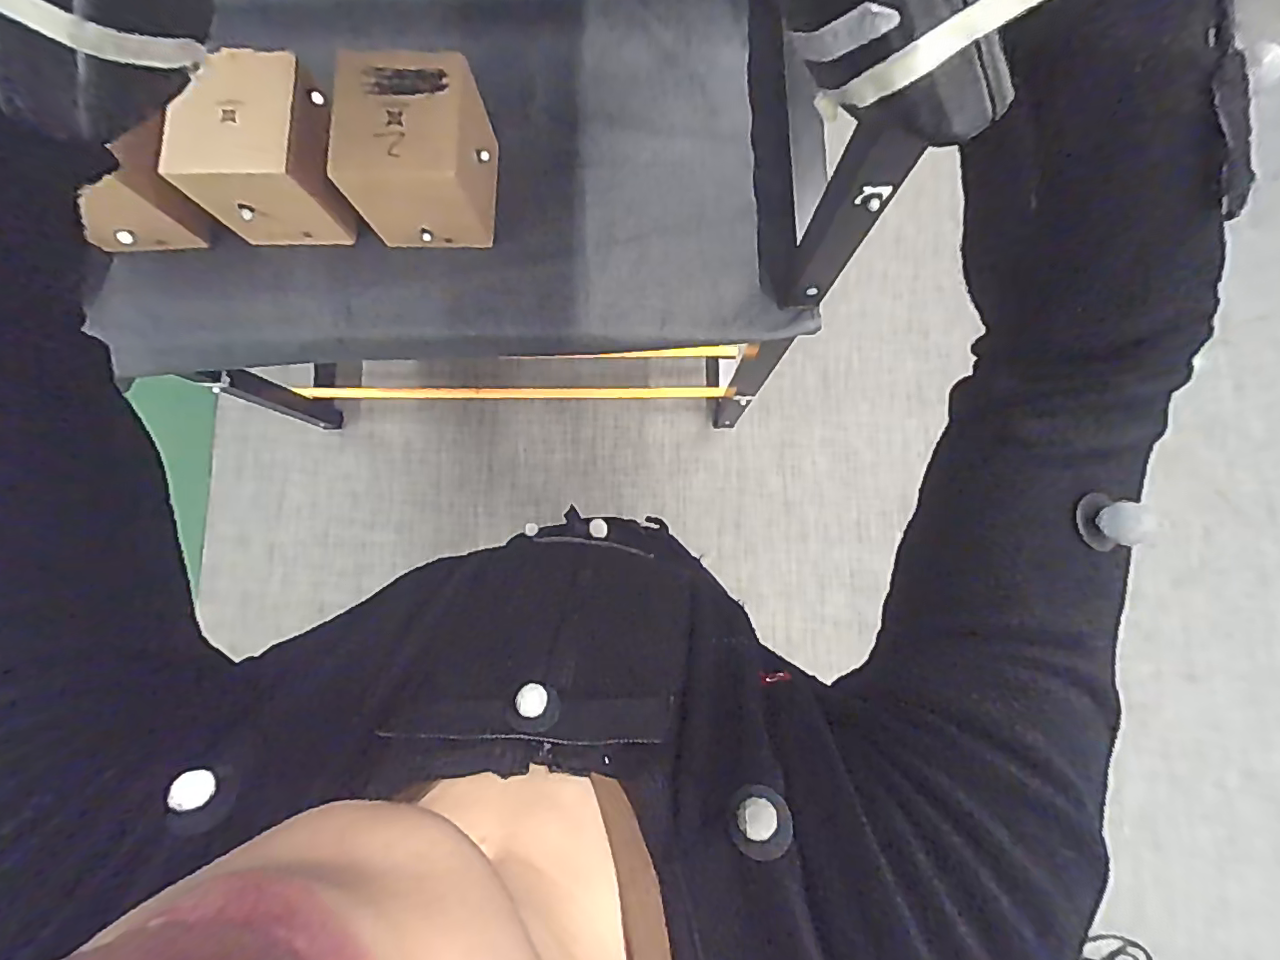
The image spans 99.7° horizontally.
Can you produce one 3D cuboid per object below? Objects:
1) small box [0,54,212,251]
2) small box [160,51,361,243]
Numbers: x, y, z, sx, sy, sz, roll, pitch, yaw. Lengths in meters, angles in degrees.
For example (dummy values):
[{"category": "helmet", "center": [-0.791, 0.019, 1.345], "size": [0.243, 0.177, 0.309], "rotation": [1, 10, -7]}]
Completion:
[{"category": "small box", "center": [-0.748, -0.453, 0.768], "size": [0.168, 0.176, 0.179], "rotation": [-2, 83, 1]}, {"category": "small box", "center": [-0.521, -0.459, 0.769], "size": [0.168, 0.176, 0.179], "rotation": [0, 82, 0]}]
